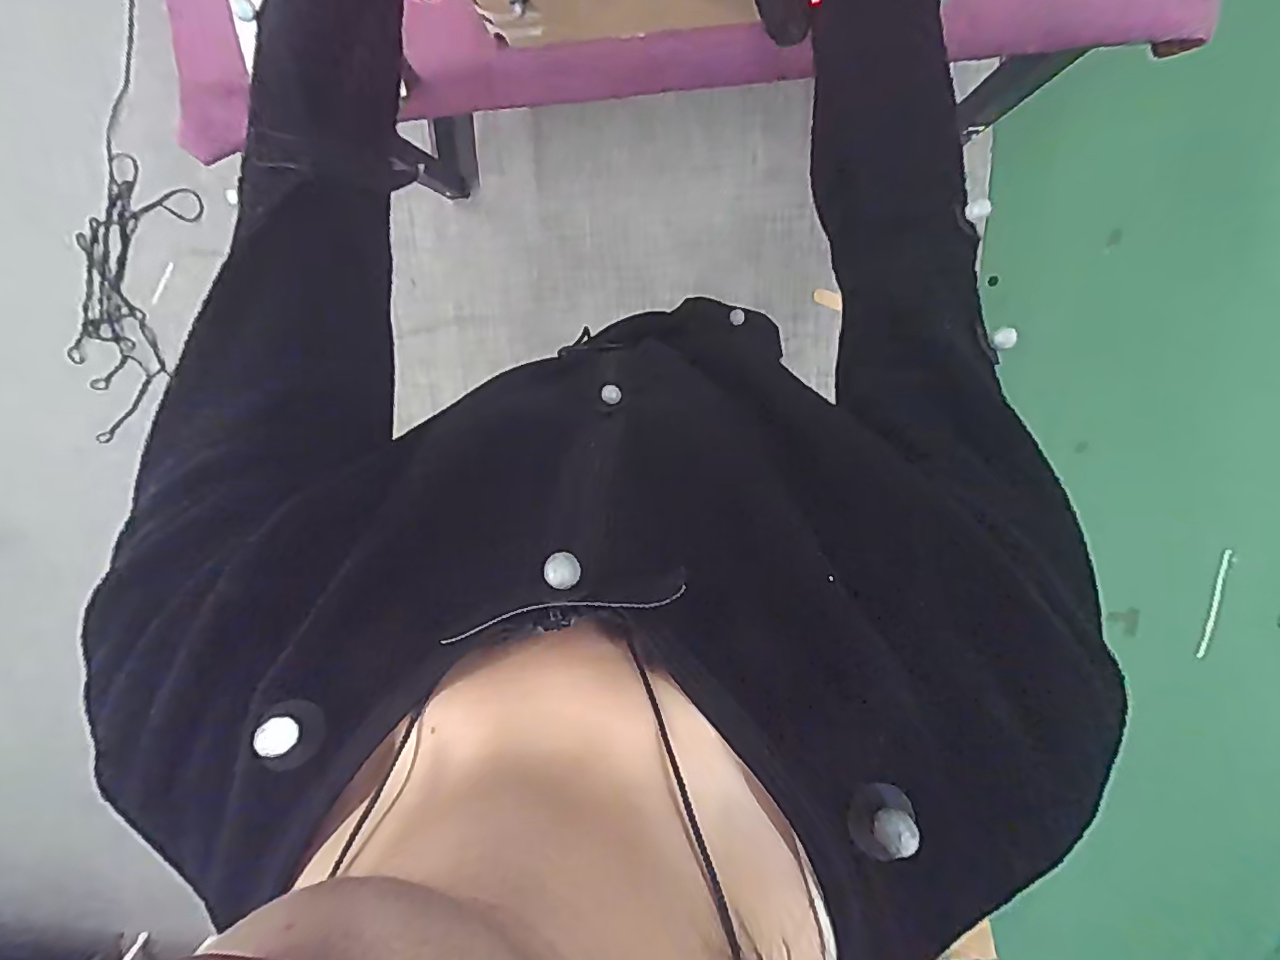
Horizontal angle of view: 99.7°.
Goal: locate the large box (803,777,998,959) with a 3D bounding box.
[{"bbox_3d":[0.737,1.138,1.585,0.408,0.320,0.320,-15,103,10],"label":"large box"}]
